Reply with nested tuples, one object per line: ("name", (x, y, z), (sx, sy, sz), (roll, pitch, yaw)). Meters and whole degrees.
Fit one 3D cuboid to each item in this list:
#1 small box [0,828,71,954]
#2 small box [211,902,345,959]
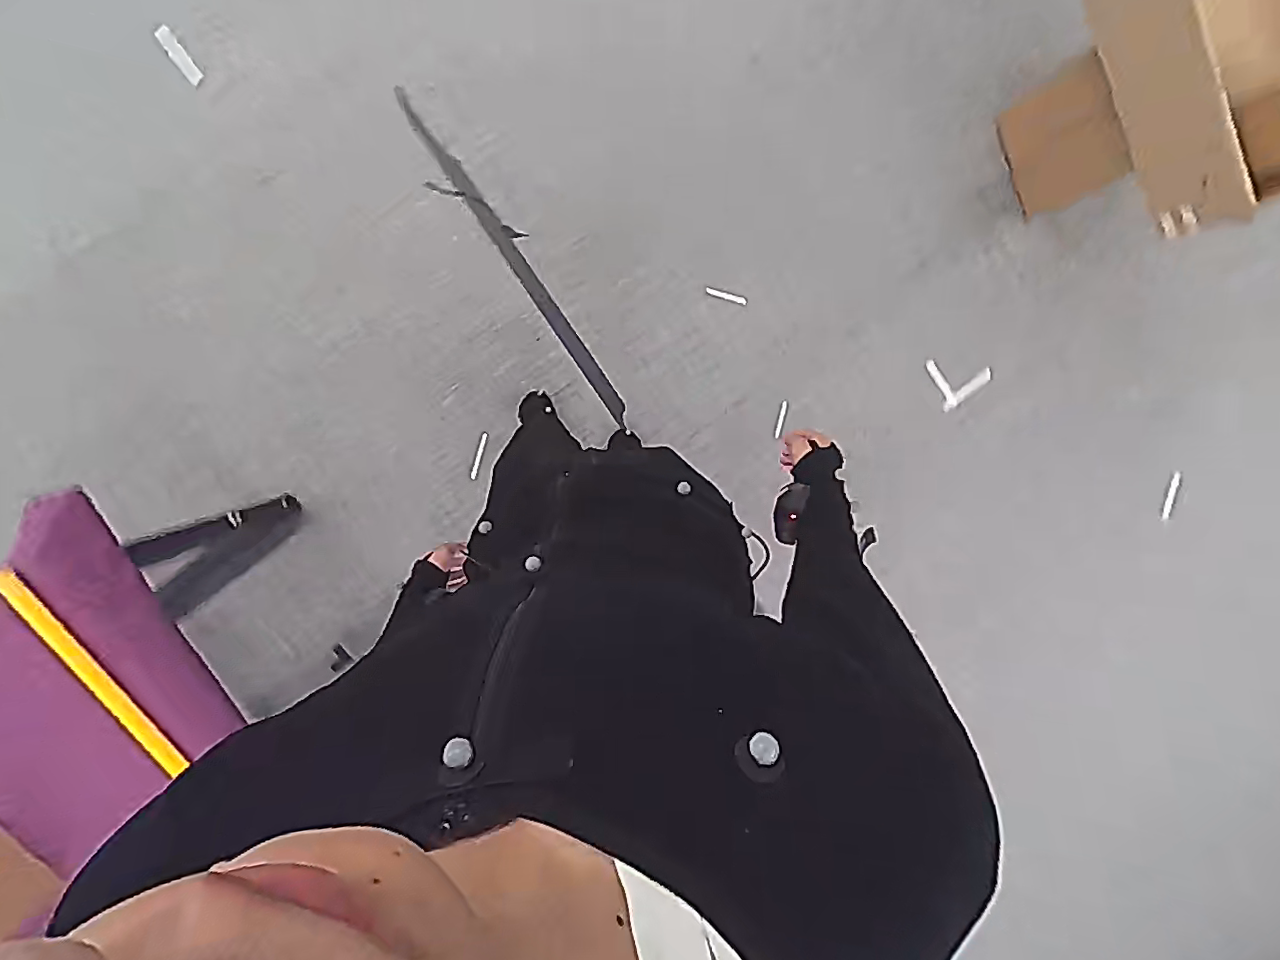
("small box", (-1.071, 0.683, 0.831), (0.168, 0.176, 0.179), (-39, 99, 1))
("small box", (-0.630, 0.855, 0.879), (0.179, 0.176, 0.168), (-36, 99, 2))
